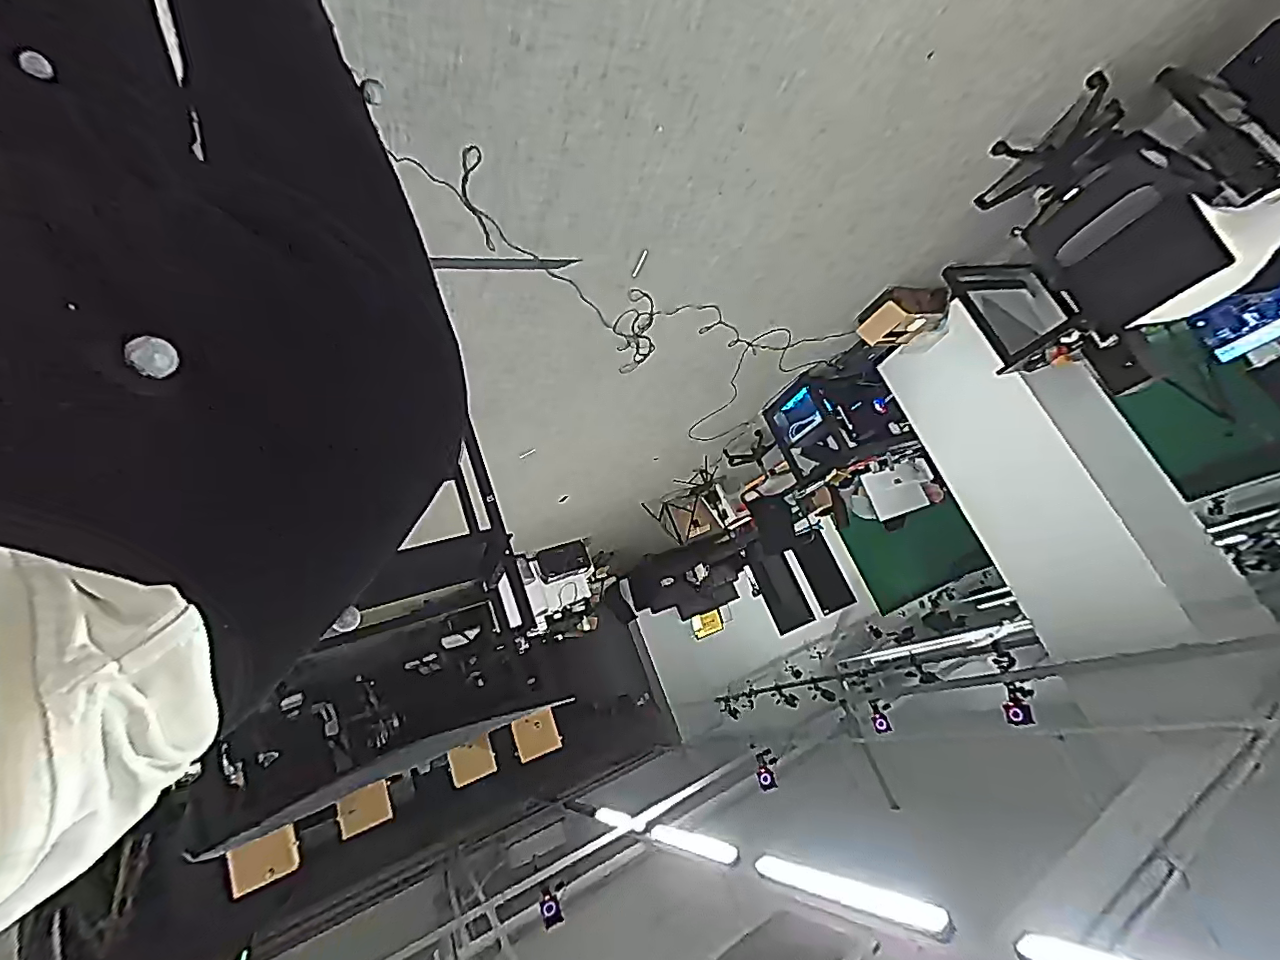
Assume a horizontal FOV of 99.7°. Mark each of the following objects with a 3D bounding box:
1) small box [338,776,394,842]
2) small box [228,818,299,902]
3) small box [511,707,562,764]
[{"bbox_3d":[-1.095,1.305,2.154,0.179,0.176,0.168,-12,161,-30],"label":"small box"},{"bbox_3d":[-1.258,1.263,1.813,0.168,0.176,0.179,-13,161,-33],"label":"small box"},{"bbox_3d":[-0.433,1.058,2.248,0.168,0.176,0.179,-16,160,-20],"label":"small box"}]
